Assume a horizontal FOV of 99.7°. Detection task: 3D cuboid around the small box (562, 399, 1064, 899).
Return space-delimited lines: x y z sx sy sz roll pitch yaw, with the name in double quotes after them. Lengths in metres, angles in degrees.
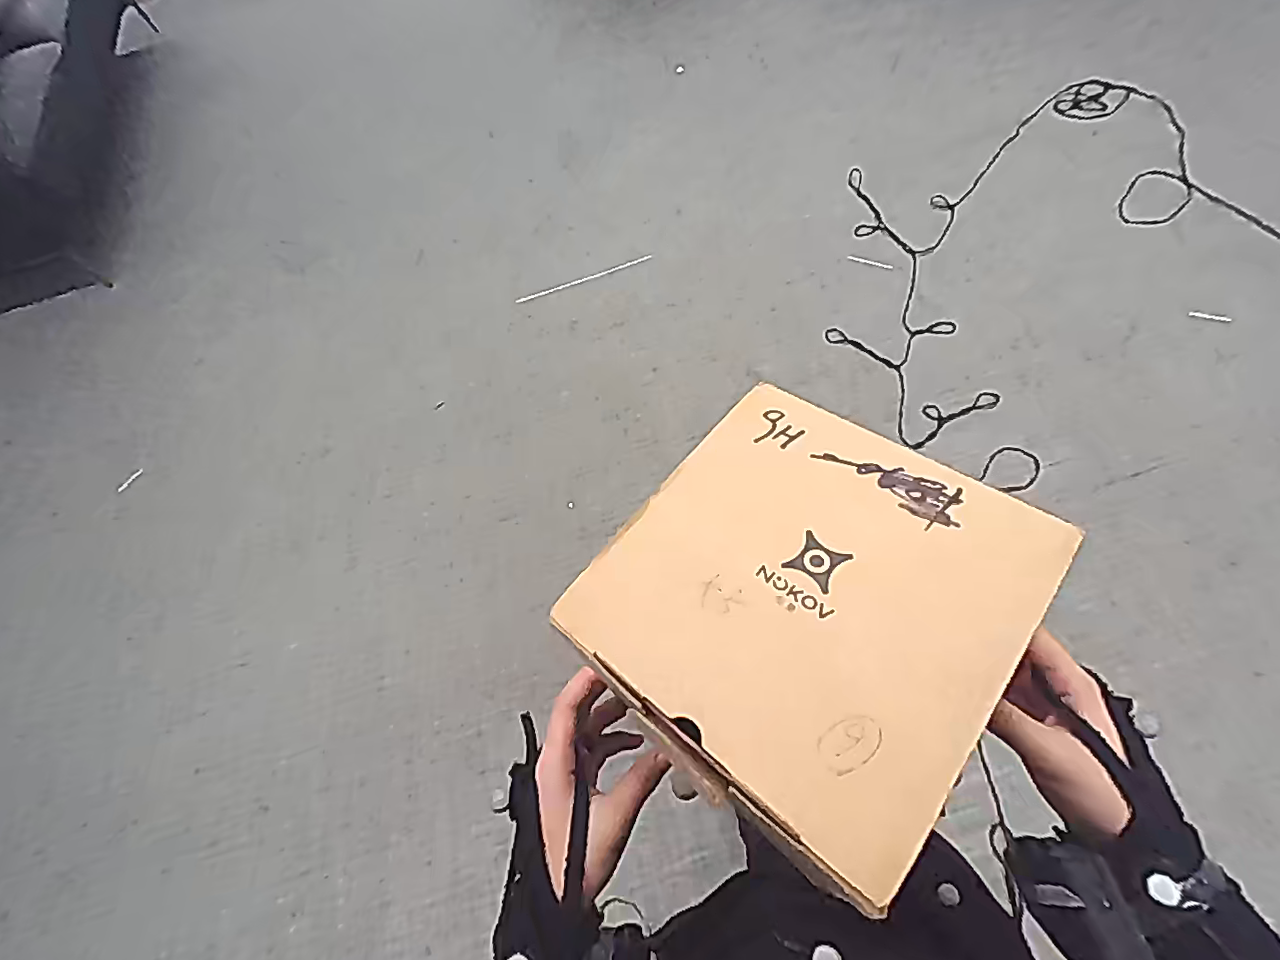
0.089 0.093 0.316 0.168 0.176 0.179 33 68 28 "small box"
